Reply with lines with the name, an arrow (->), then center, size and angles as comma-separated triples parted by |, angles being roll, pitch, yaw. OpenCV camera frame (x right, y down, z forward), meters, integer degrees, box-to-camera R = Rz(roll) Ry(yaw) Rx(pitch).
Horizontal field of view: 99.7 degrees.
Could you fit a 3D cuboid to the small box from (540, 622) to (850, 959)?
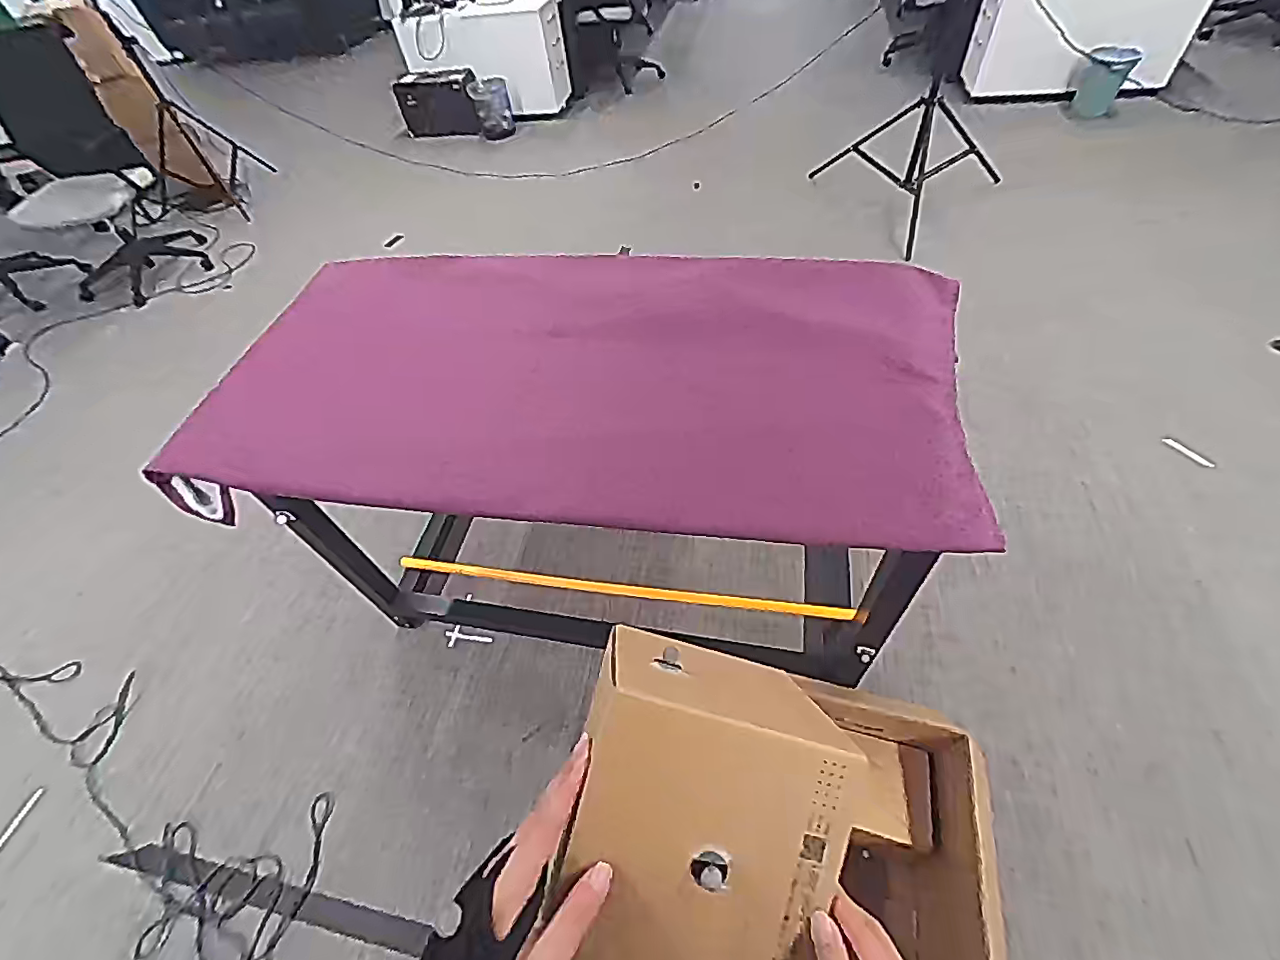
small box -> 0.036, 0.228, 0.416 | 0.176, 0.179, 0.168 | 17, 87, -2
